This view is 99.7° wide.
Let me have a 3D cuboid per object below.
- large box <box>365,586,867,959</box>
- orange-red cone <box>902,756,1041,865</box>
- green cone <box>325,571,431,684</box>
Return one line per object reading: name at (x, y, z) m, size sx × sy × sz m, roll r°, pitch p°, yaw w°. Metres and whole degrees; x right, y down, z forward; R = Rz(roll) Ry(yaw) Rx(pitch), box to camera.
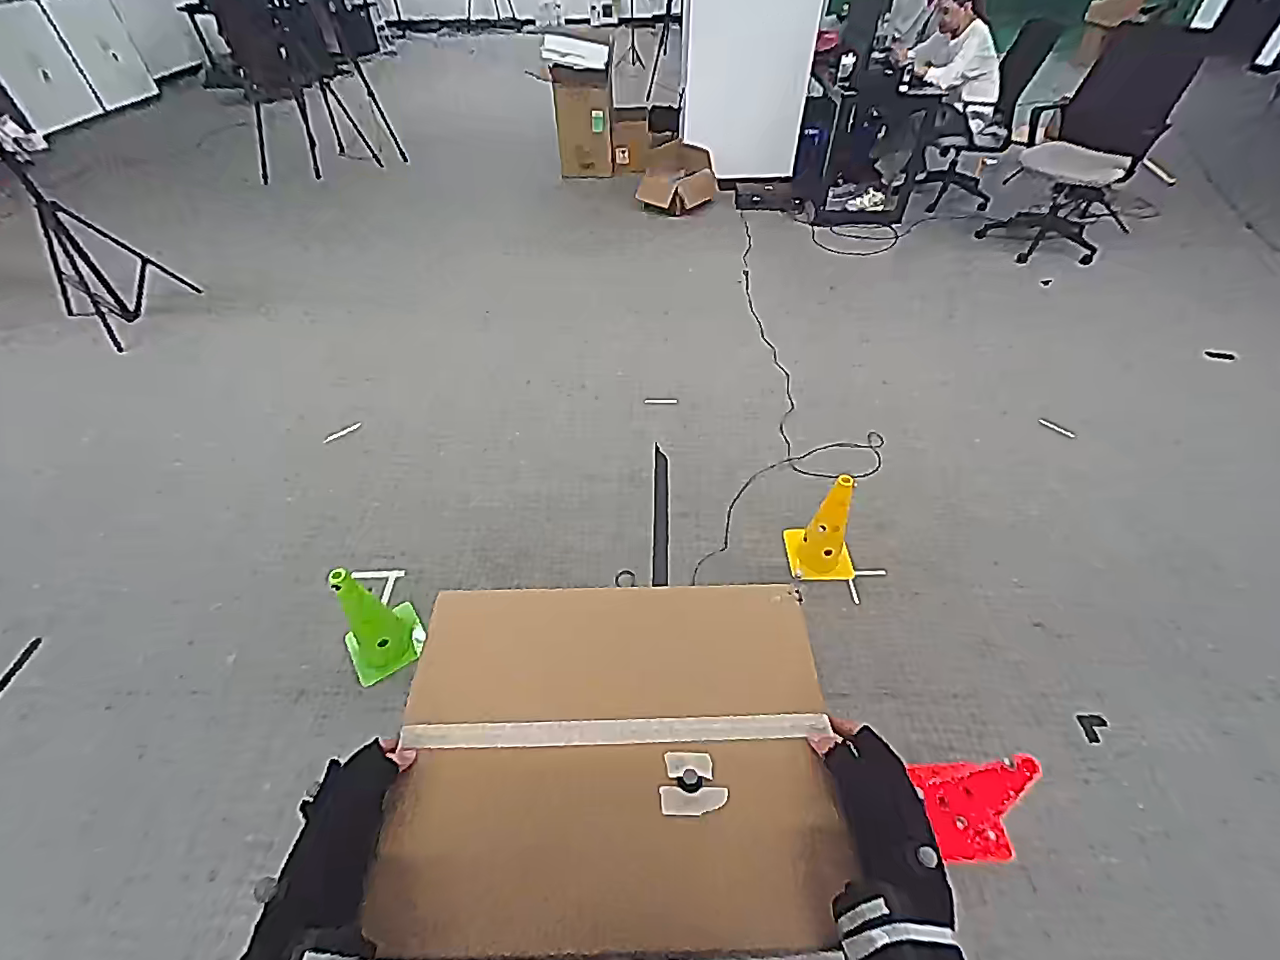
large box at (-0.022, 0.340, 0.629) m, size 0.408 × 0.320 × 0.320 m, roll 0°, pitch 48°, yaw -1°
orange-red cone at (0.732, 0.657, 1.139) m, size 0.198 × 0.360 × 0.199 m, roll -1°, pitch 45°, yaw -1°
green cone at (-0.742, 0.354, 1.456) m, size 0.202 × 0.368 × 0.200 m, roll -29°, pitch 52°, yaw -22°
